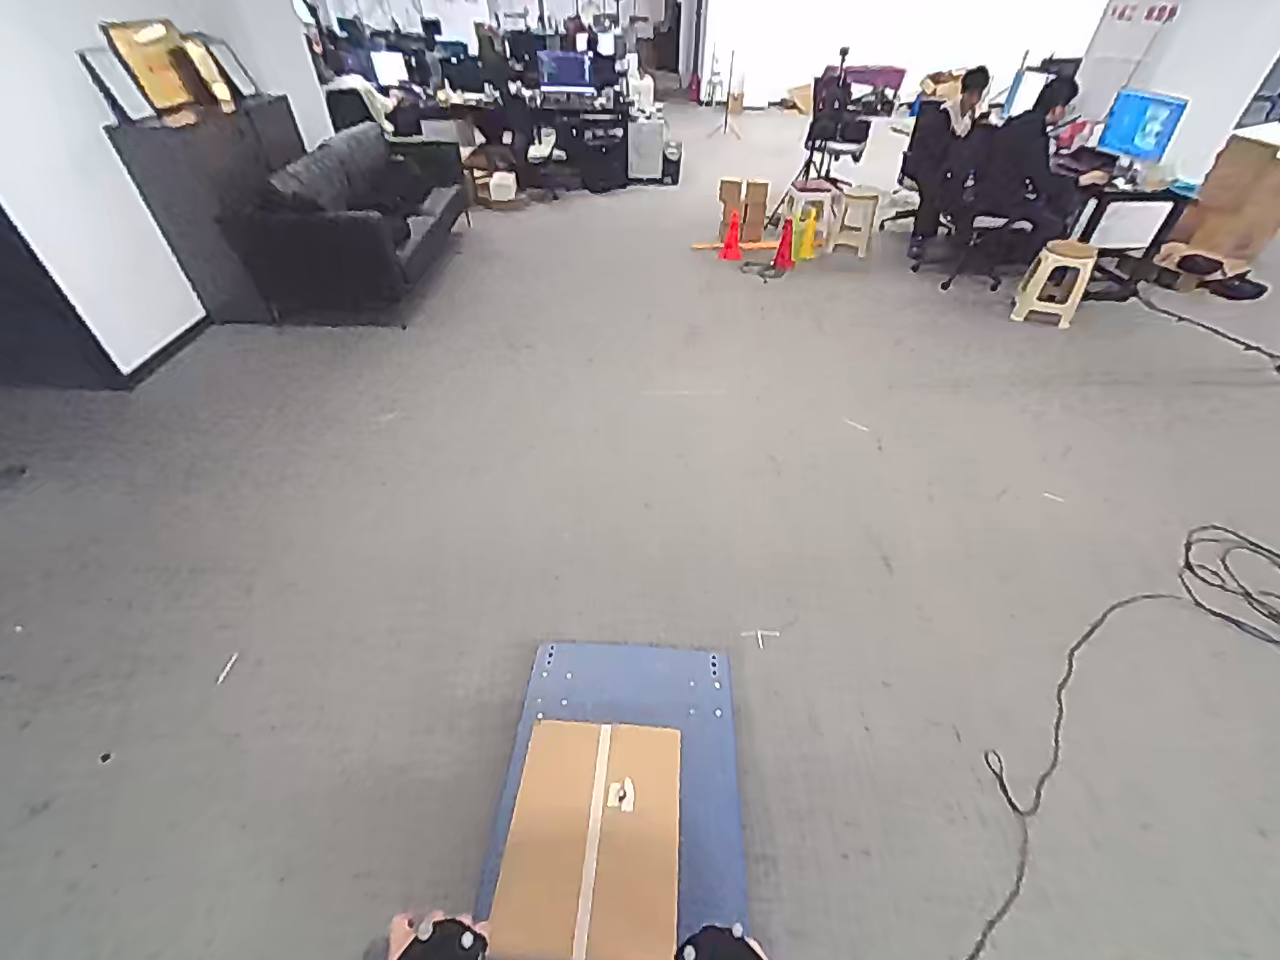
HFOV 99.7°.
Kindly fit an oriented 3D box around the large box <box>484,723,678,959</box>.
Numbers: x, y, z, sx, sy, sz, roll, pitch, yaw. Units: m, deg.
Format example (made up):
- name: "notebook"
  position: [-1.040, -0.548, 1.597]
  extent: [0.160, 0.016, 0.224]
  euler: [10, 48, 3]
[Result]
- name: "large box"
  position: [-0.086, 0.765, 1.089]
  extent: [0.320, 0.320, 0.408]
  euler: [3, 40, 3]
